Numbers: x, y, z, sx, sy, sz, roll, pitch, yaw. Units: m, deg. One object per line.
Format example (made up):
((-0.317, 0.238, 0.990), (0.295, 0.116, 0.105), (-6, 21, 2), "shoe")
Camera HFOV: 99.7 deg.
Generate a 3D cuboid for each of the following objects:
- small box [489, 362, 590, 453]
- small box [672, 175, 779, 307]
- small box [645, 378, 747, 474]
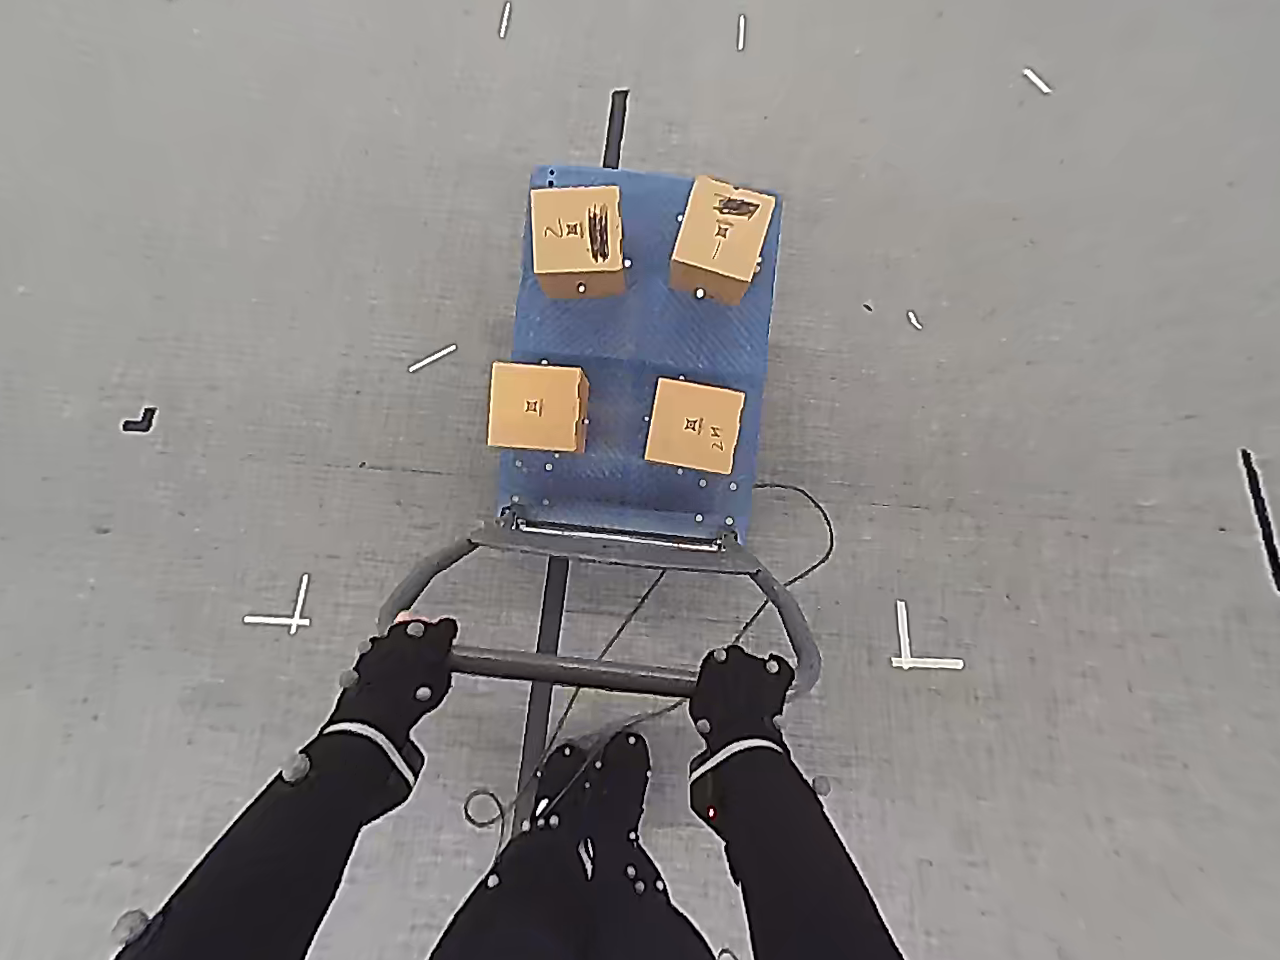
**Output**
((-0.204, -0.145, 1.140), (0.179, 0.176, 0.168), (4, 90, -1), "small box")
((0.170, -0.492, 1.137), (0.168, 0.176, 0.179), (17, 92, 0), "small box")
((0.111, -0.105, 1.140), (0.179, 0.176, 0.168), (11, 91, 0), "small box")
